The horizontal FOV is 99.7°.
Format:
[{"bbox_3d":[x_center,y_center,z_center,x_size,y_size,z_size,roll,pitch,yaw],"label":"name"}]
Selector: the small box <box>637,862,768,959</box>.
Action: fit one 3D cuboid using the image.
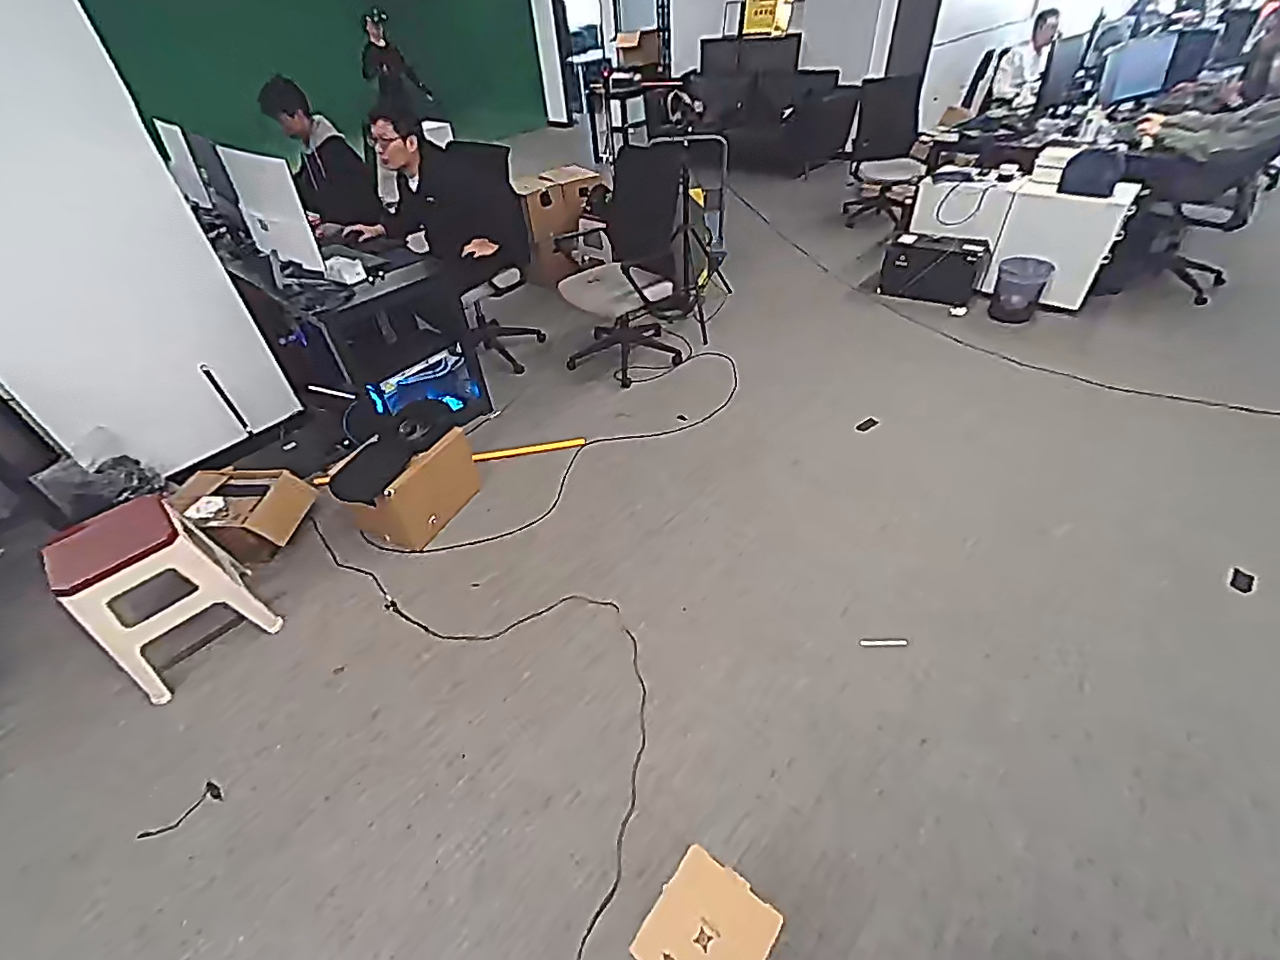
[{"bbox_3d":[0.112,0.846,0.969,0.168,0.176,0.179,24,47,27],"label":"small box"}]
